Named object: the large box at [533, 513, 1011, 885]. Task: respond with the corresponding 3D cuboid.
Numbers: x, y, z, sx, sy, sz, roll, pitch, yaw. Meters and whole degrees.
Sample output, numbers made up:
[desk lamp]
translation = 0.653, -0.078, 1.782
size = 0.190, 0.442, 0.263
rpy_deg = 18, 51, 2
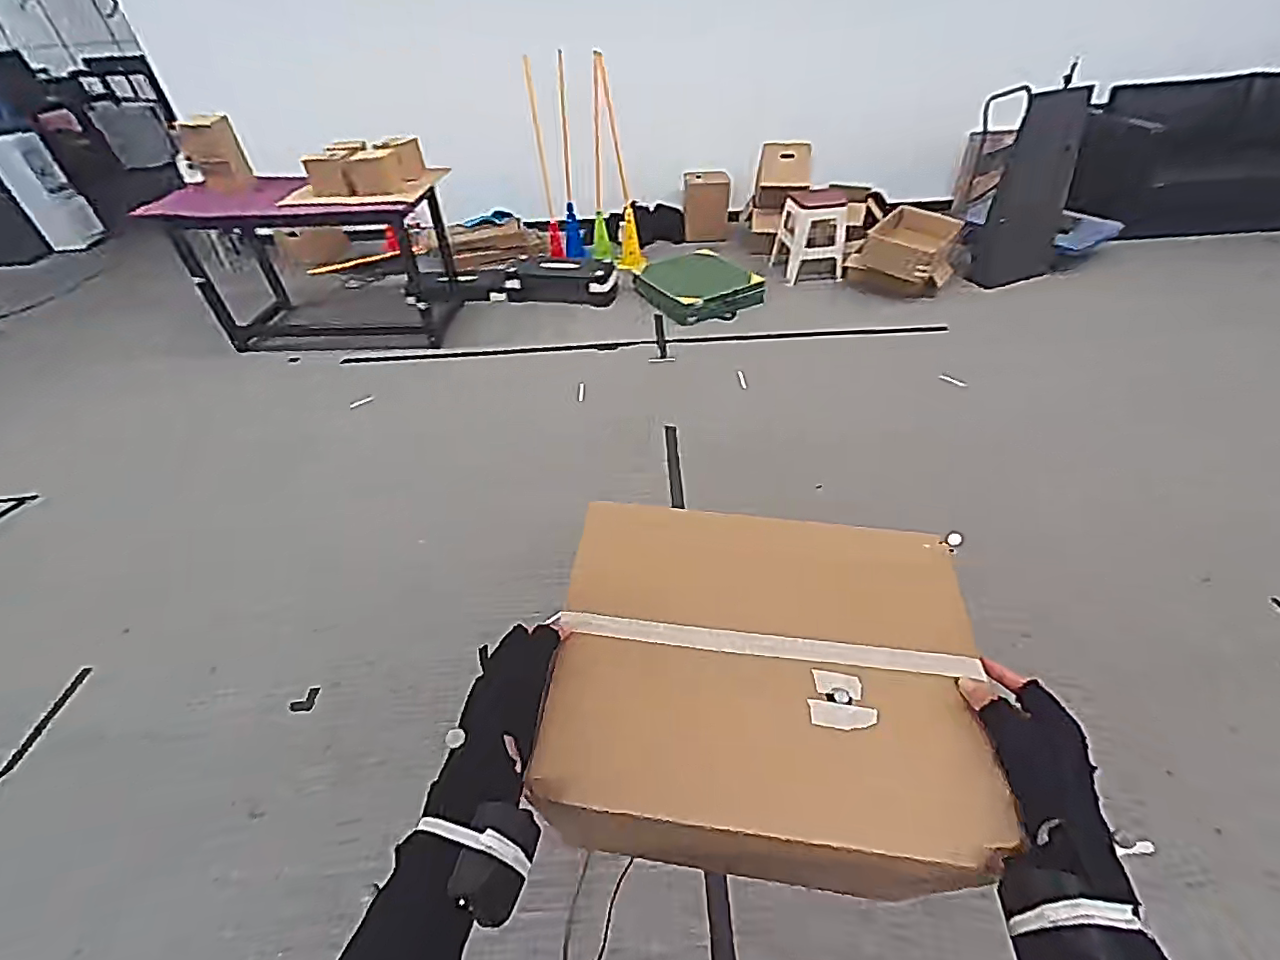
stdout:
[large box]
translation = 0.120, 0.265, 0.655
size = 0.408, 0.320, 0.320
rpy_deg = 5, 51, 6
